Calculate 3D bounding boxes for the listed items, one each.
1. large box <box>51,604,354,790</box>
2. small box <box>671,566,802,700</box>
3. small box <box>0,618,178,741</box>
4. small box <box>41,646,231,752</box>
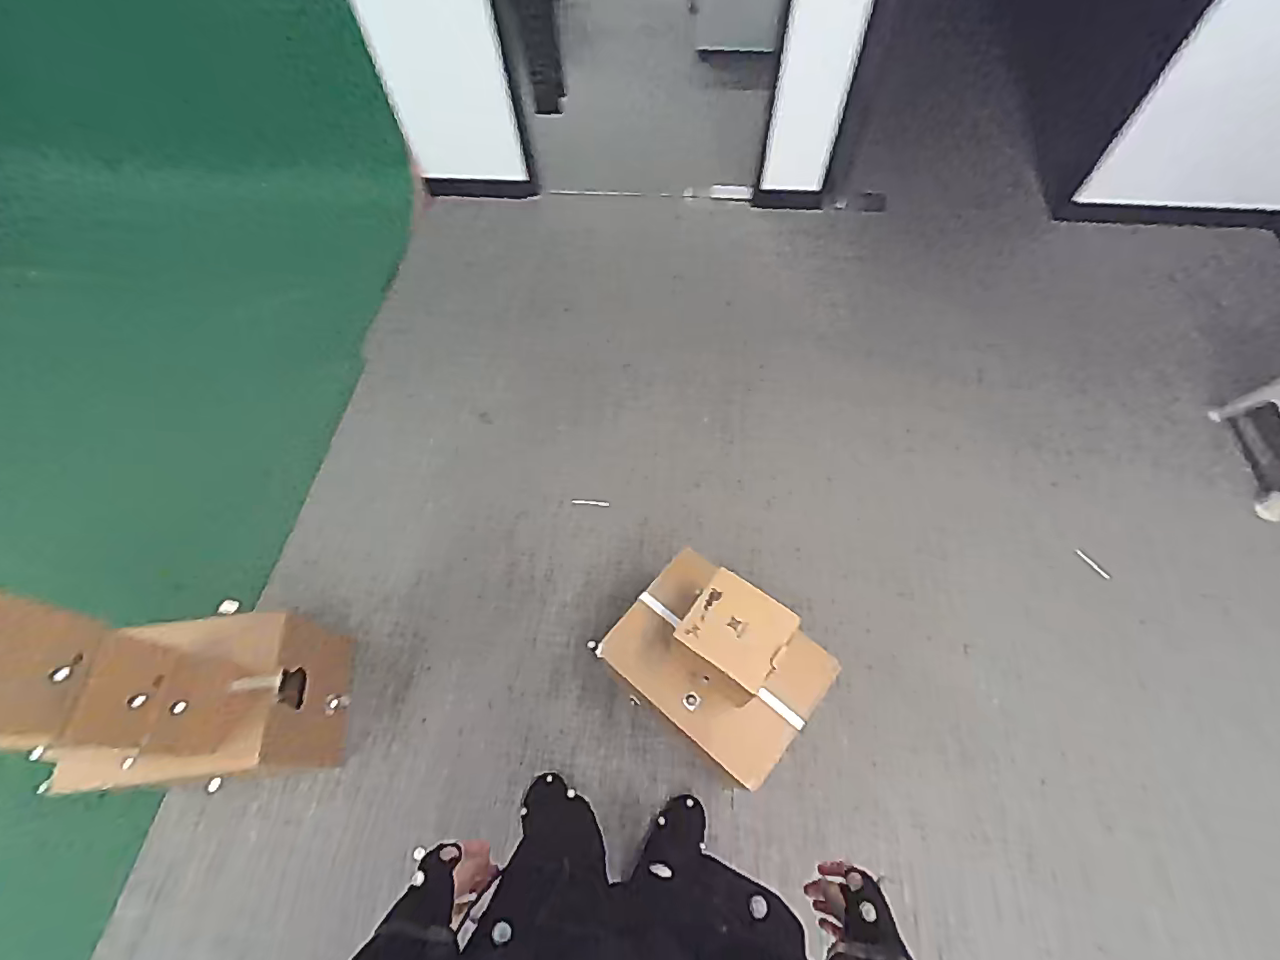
[{"bbox_3d":[-0.937,0.499,1.234,0.408,0.320,0.320,-7,61,-1],"label":"large box"},{"bbox_3d":[0.176,0.299,1.035,0.179,0.176,0.168,34,66,17],"label":"small box"},{"bbox_3d":[-0.913,0.323,0.864,0.179,0.176,0.168,0,62,0],"label":"small box"},{"bbox_3d":[-0.913,0.406,1.004,0.168,0.176,0.179,-2,62,0],"label":"small box"}]
